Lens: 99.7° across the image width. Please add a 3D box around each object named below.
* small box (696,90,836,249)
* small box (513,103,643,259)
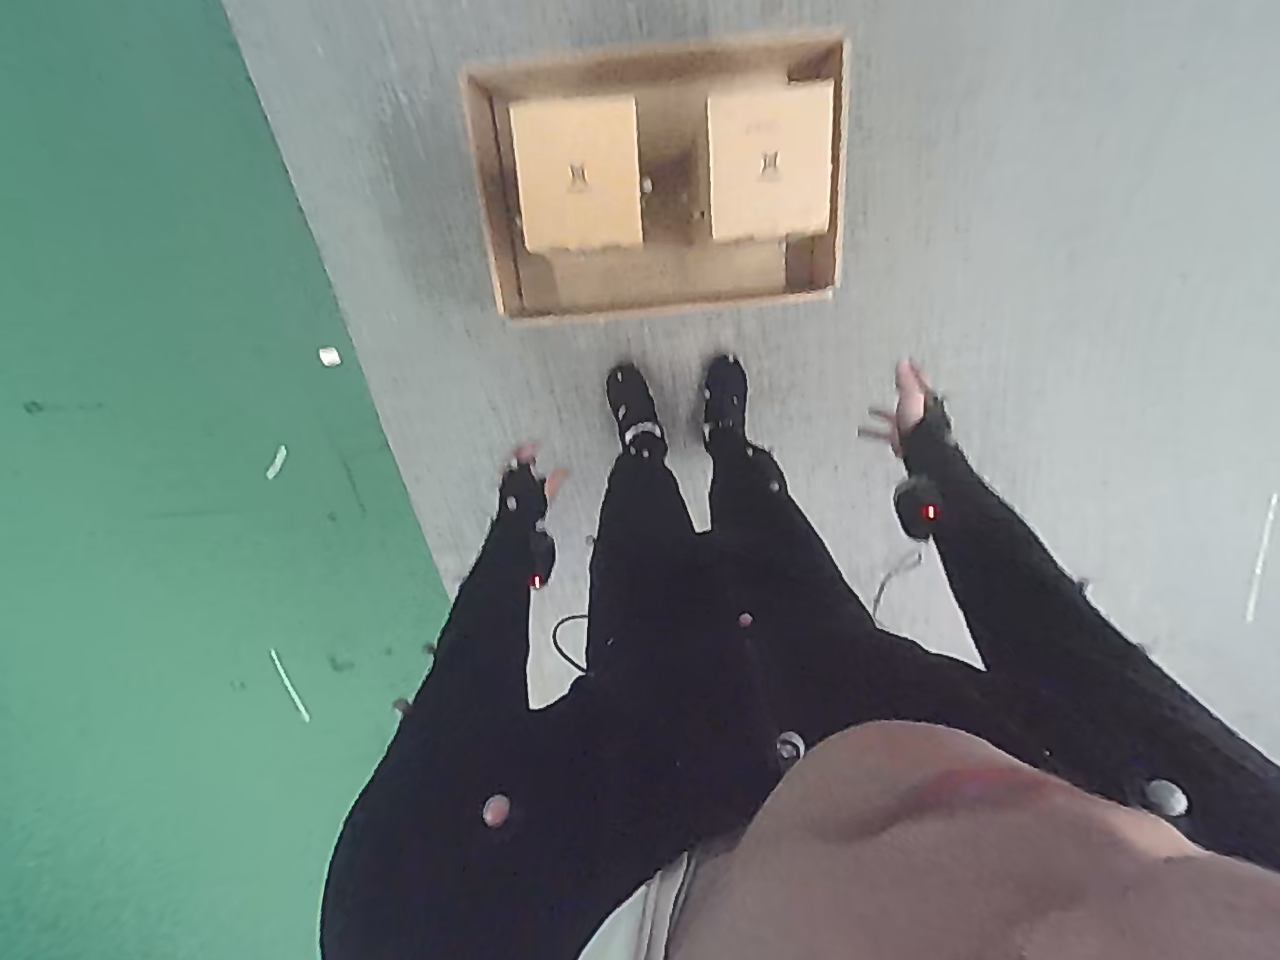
[{"bbox_3d":[0.174,-0.439,0.794,0.168,0.176,0.179,-4,109,1],"label":"small box"},{"bbox_3d":[-0.083,-0.428,0.800,0.168,0.176,0.179,-3,110,0],"label":"small box"}]
